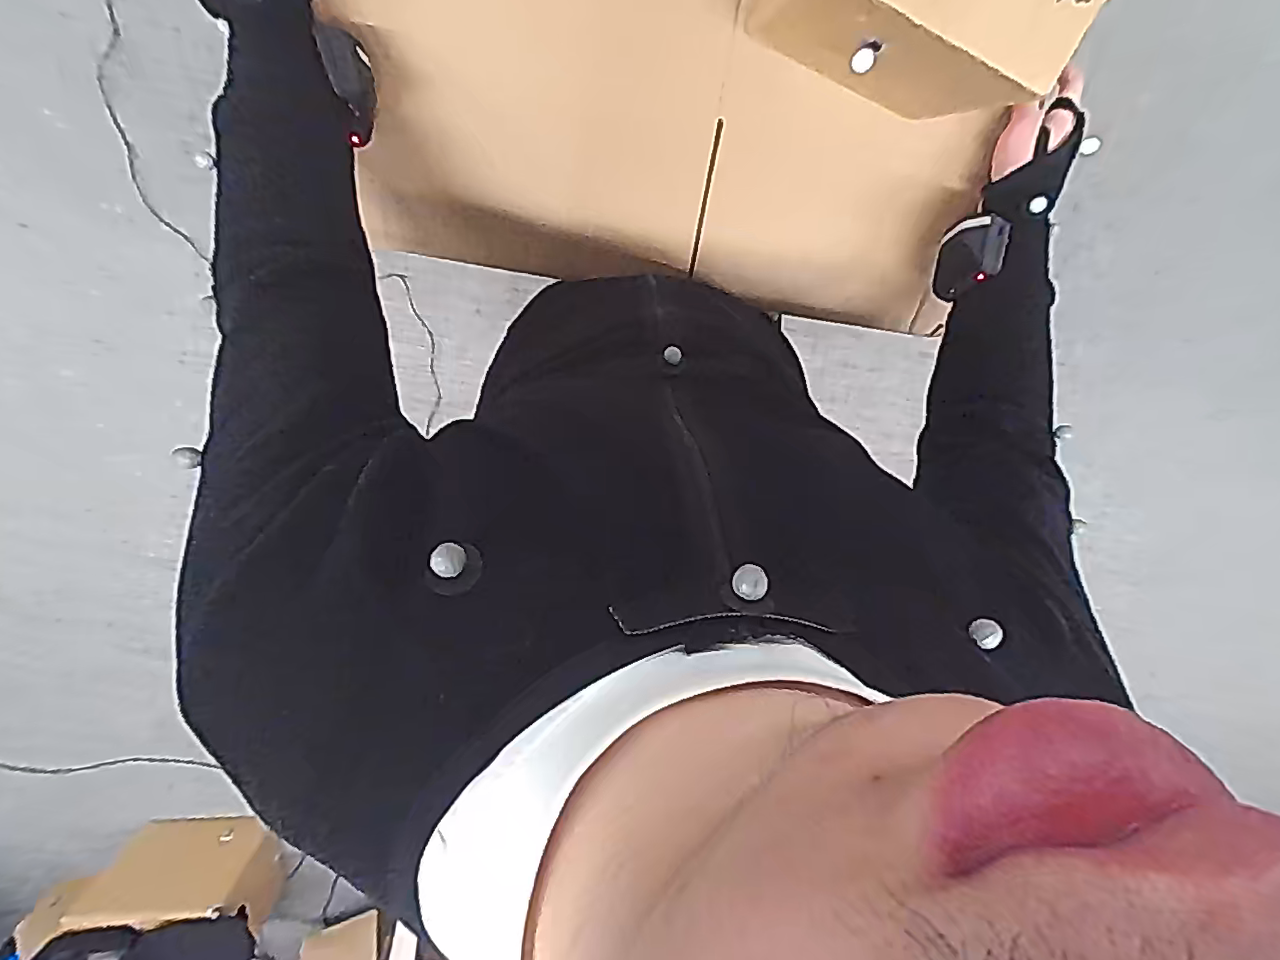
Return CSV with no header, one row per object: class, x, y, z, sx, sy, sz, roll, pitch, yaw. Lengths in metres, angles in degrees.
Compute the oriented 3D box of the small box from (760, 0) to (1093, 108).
small box,0.206,-0.386,0.374,0.179,0.176,0.168,16,117,-13
